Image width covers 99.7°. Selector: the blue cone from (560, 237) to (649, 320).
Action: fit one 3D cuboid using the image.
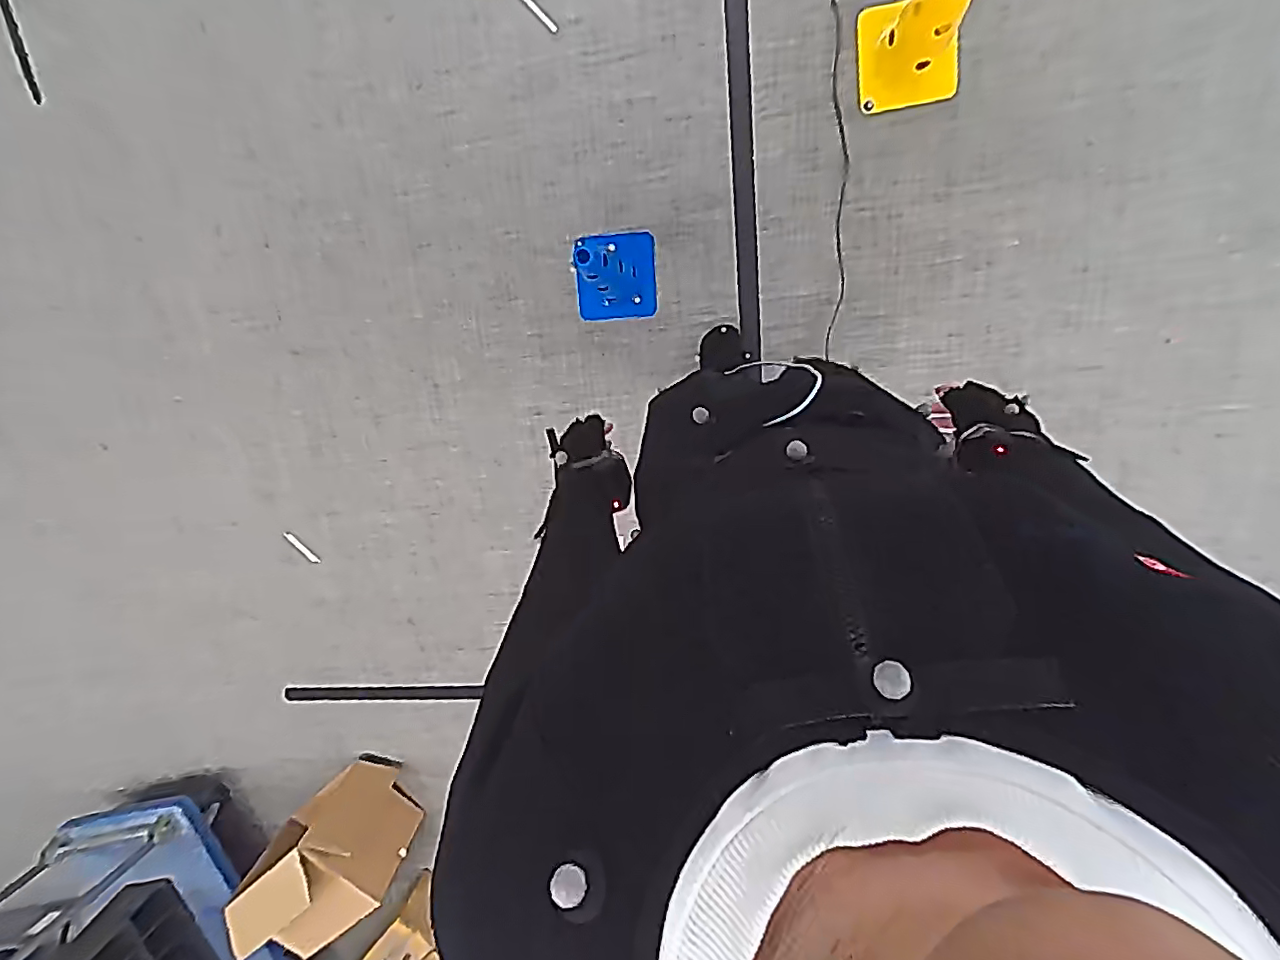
[{"bbox_3d":[-0.097,-0.463,1.196,0.192,0.380,0.193,0,104,9],"label":"blue cone"}]
